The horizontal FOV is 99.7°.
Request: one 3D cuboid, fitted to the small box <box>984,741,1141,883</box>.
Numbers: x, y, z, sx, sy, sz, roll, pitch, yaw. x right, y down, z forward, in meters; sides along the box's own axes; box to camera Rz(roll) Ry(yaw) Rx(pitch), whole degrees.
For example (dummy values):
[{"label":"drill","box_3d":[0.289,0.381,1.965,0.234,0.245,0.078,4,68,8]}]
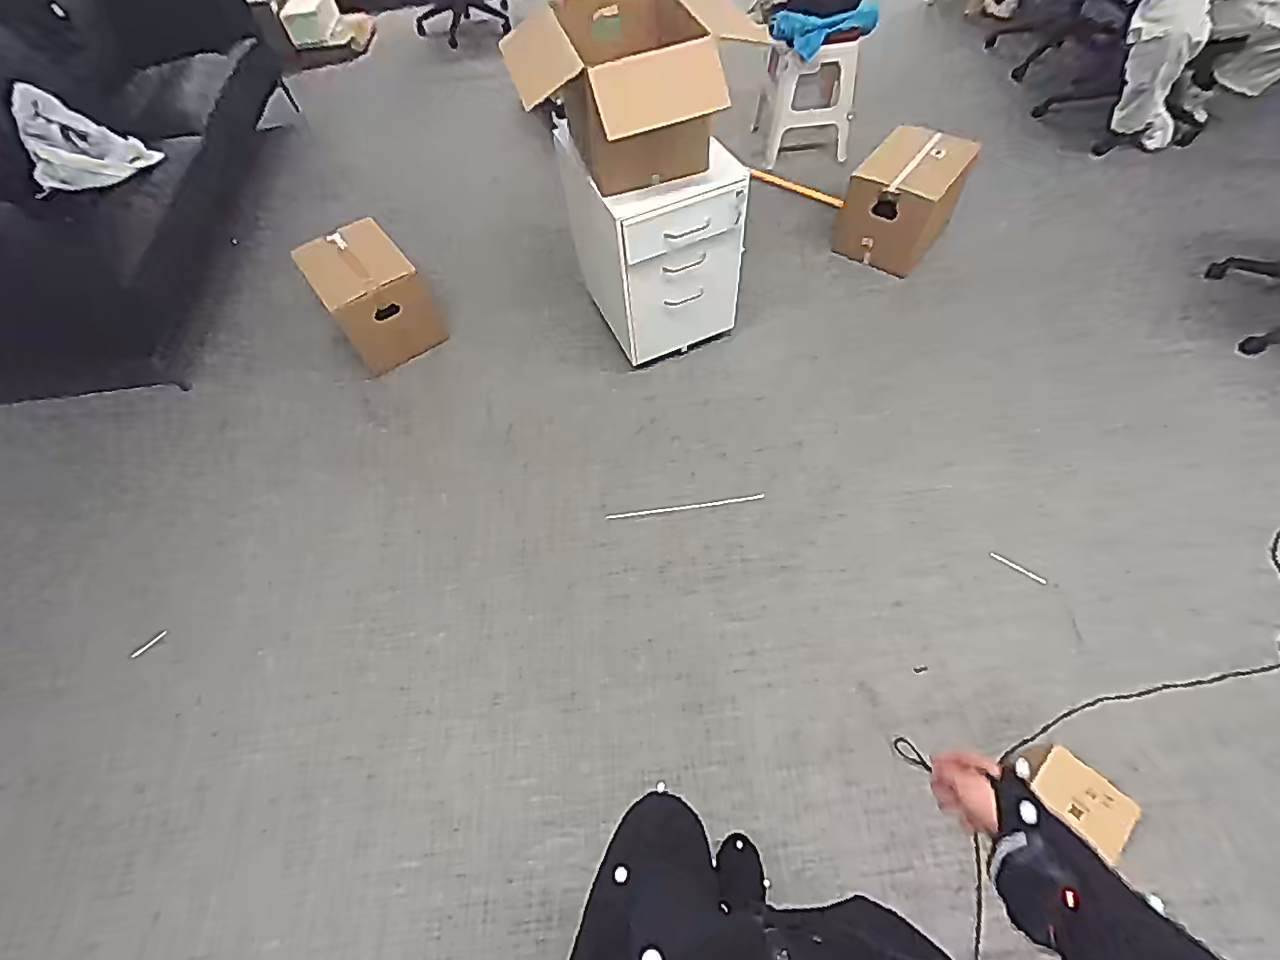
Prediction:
[{"label":"small box","box_3d":[0.845,0.671,1.104,0.179,0.176,0.168,-41,64,-18]}]
